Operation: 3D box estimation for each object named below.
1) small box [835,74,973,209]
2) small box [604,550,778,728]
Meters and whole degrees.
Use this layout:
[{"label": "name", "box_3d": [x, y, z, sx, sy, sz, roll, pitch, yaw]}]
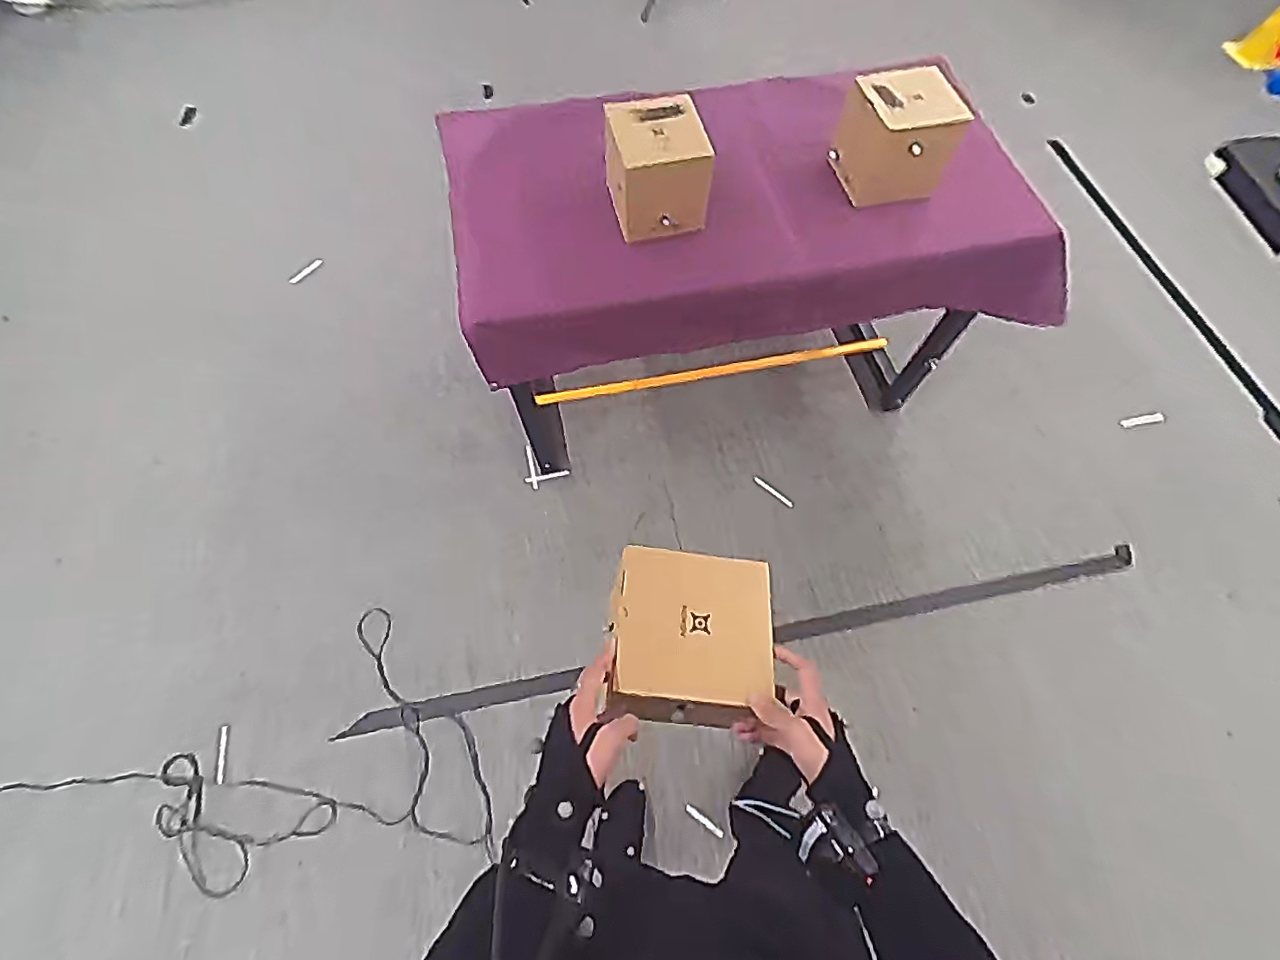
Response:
[{"label": "small box", "box_3d": [0.519, -0.679, 1.099, 0.179, 0.176, 0.168, -11, 66, -6]}, {"label": "small box", "box_3d": [0.055, 0.202, 0.663, 0.179, 0.176, 0.168, 7, 58, -3]}]
